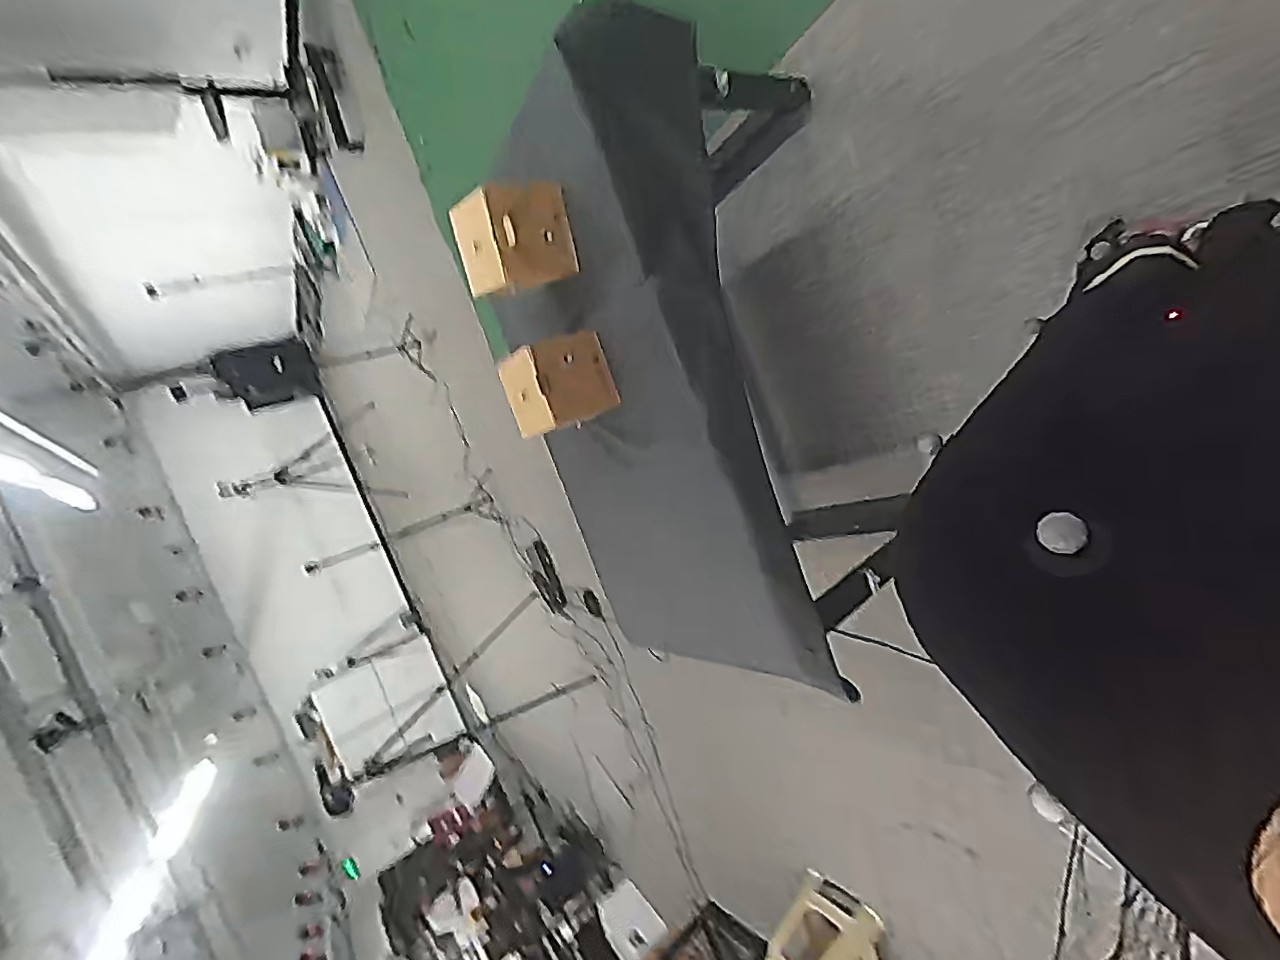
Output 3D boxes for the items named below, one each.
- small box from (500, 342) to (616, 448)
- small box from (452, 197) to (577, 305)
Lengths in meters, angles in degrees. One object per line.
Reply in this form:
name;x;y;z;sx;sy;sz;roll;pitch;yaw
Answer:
small box;-0.170;-0.182;1.159;0.179;0.176;0.168;-12;99;57
small box;-0.253;-0.462;1.101;0.179;0.176;0.168;8;116;52
